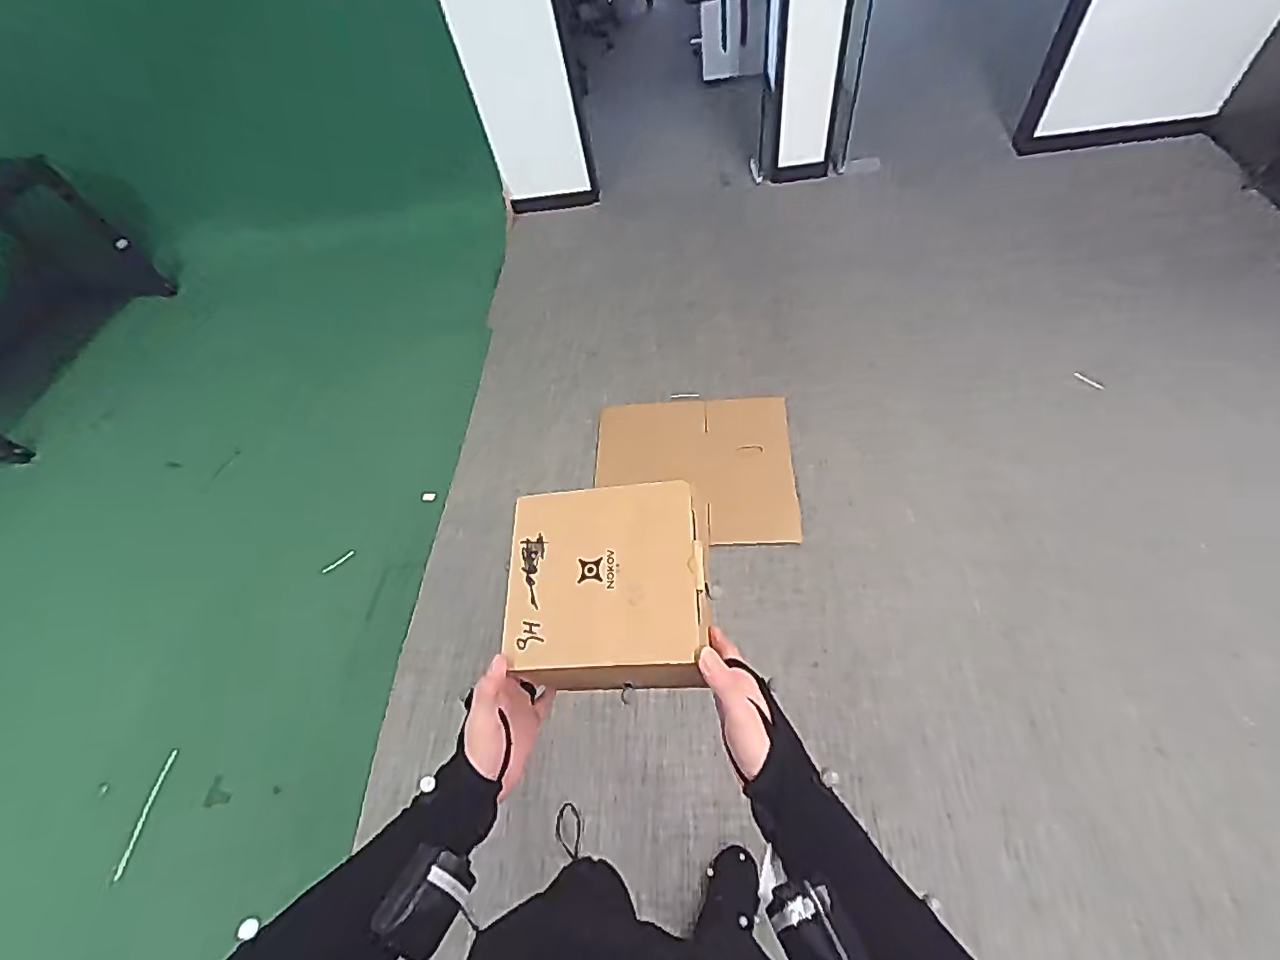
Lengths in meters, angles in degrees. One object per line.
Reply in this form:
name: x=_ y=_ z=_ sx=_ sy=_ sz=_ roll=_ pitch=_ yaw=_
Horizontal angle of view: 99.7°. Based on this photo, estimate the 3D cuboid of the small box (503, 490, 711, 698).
small box: x=-0.019 y=0.124 z=0.553 sx=0.179 sy=0.176 sz=0.168 roll=-5 pitch=61 yaw=8
